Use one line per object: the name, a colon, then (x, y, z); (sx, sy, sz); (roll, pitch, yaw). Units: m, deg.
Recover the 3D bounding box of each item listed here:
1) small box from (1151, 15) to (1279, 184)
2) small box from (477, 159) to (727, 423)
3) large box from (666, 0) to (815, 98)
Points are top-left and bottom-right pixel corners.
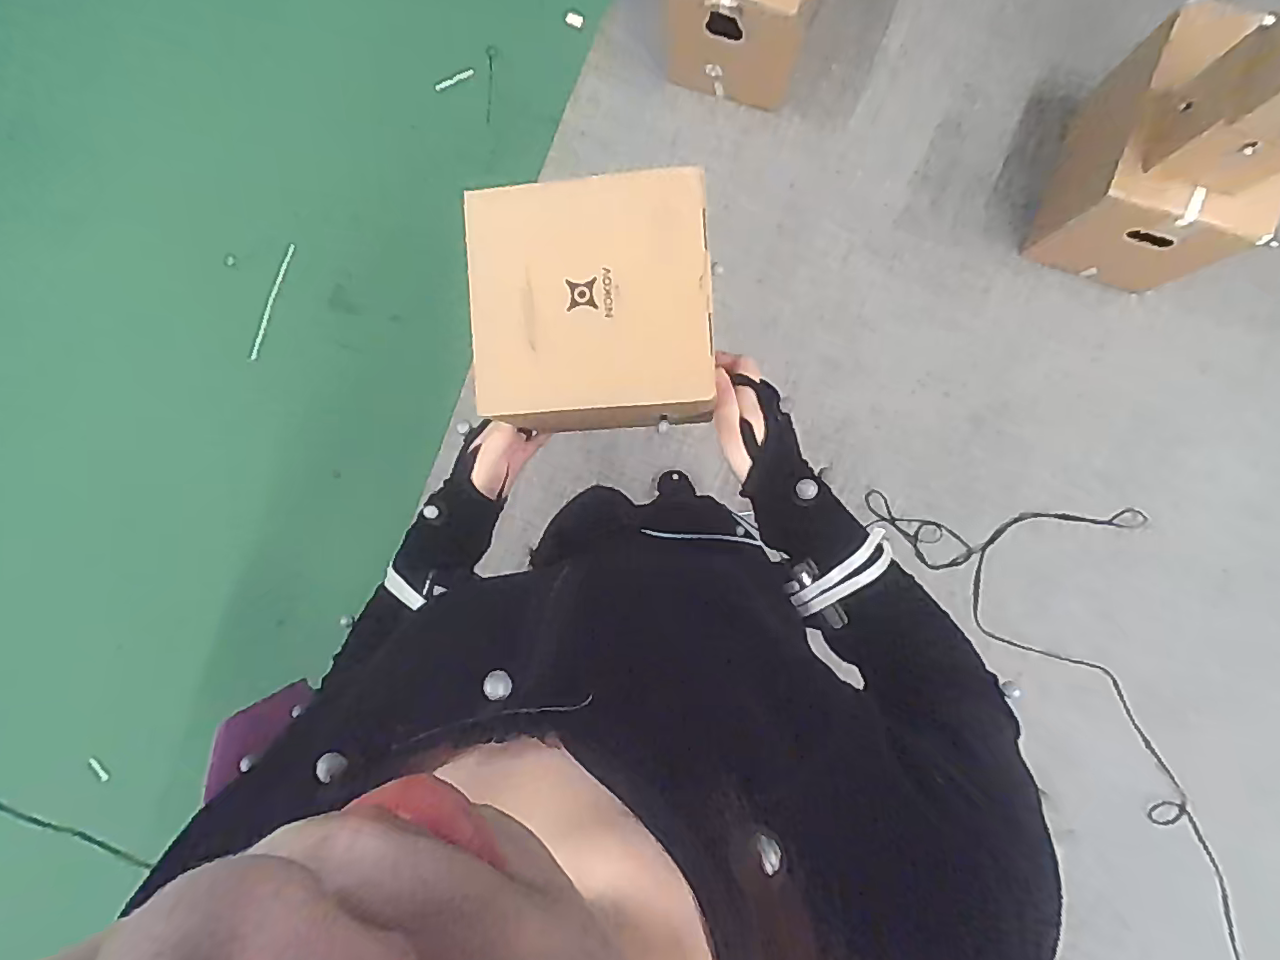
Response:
small box: (1.090, -0.659, 0.960); (0.179, 0.176, 0.168); (19, 94, 7)
small box: (-0.021, -0.140, 0.463); (0.179, 0.176, 0.168); (-3, 91, 7)
large box: (0.272, -1.230, 1.279); (0.320, 0.320, 0.408); (21, 93, 6)
